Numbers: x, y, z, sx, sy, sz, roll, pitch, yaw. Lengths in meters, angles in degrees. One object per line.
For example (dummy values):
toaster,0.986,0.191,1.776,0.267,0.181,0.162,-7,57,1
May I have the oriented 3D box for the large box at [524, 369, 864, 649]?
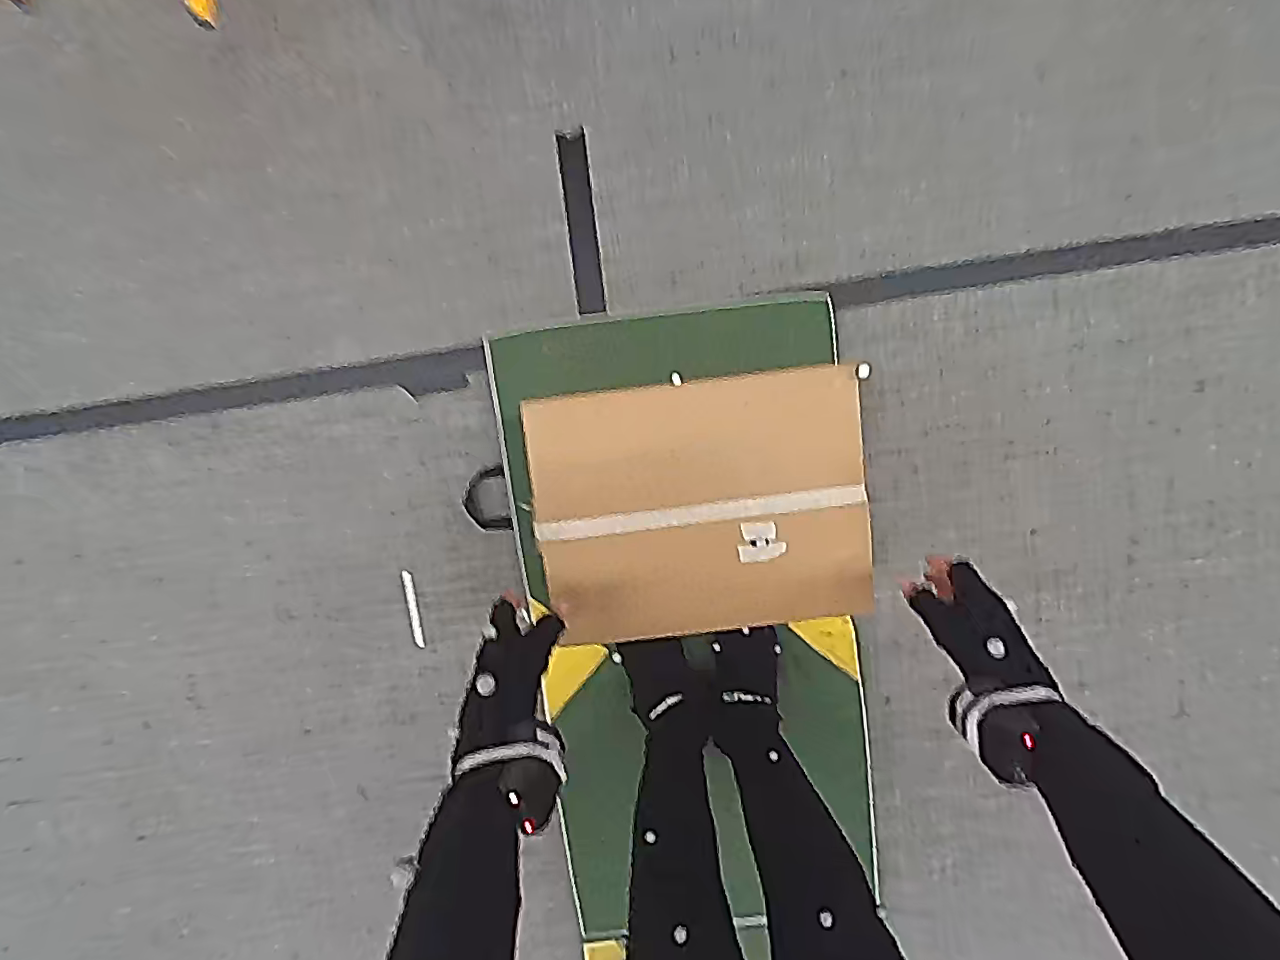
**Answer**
large box,0.069,0.025,0.826,0.408,0.320,0.320,-7,98,0
